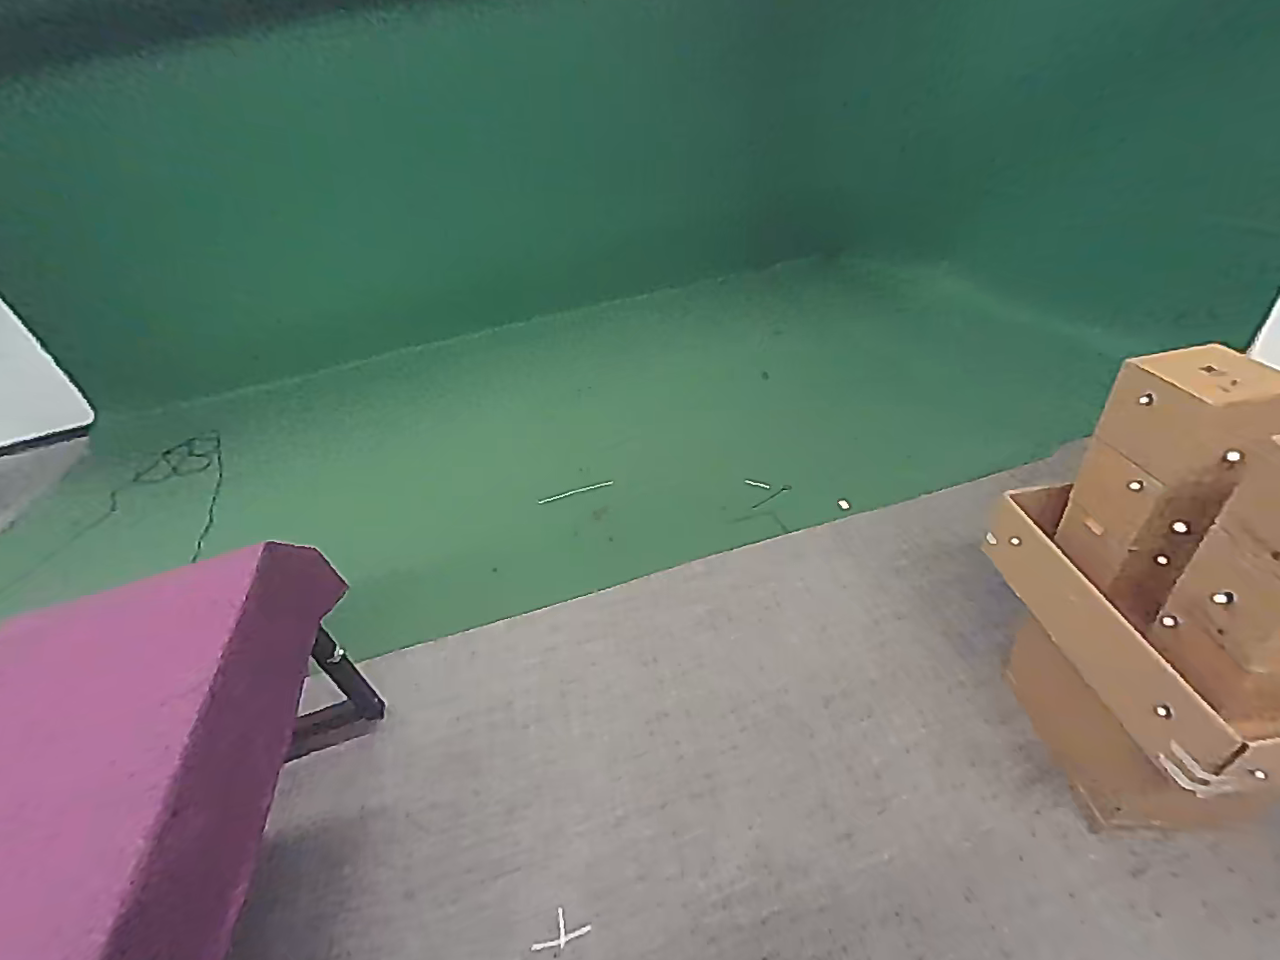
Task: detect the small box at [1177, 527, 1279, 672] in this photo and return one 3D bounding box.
[{"bbox_3d":[1.011,0.185,0.850,0.179,0.176,0.168,-5,37,8],"label":"small box"}]

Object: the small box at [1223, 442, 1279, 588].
[{"bbox_3d":[0.987,0.055,0.753,0.179,0.176,0.168,-3,38,9],"label":"small box"}]

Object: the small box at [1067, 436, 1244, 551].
[{"bbox_3d":[1.009,0.017,1.077,0.168,0.176,0.179,-9,38,2],"label":"small box"}]

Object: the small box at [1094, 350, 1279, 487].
[{"bbox_3d":[0.982,-0.111,0.975,0.168,0.176,0.179,-10,38,2],"label":"small box"}]
